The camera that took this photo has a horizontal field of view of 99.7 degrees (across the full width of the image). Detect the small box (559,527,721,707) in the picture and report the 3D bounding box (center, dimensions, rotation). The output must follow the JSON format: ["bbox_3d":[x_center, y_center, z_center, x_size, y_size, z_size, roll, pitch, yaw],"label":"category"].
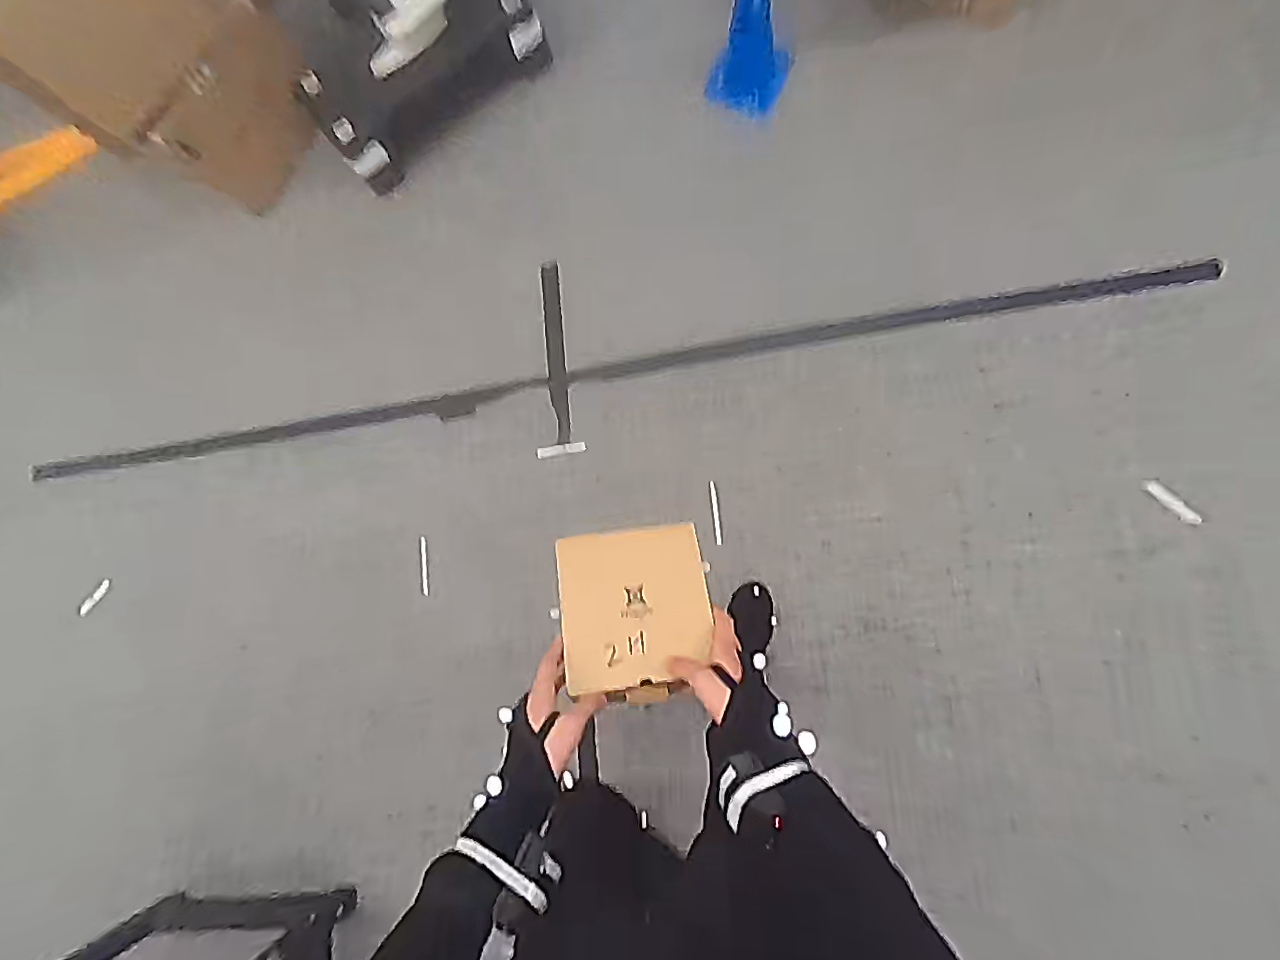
[{"bbox_3d":[-0.007,0.175,0.670,0.168,0.176,0.179,-6,65,-4],"label":"small box"}]
